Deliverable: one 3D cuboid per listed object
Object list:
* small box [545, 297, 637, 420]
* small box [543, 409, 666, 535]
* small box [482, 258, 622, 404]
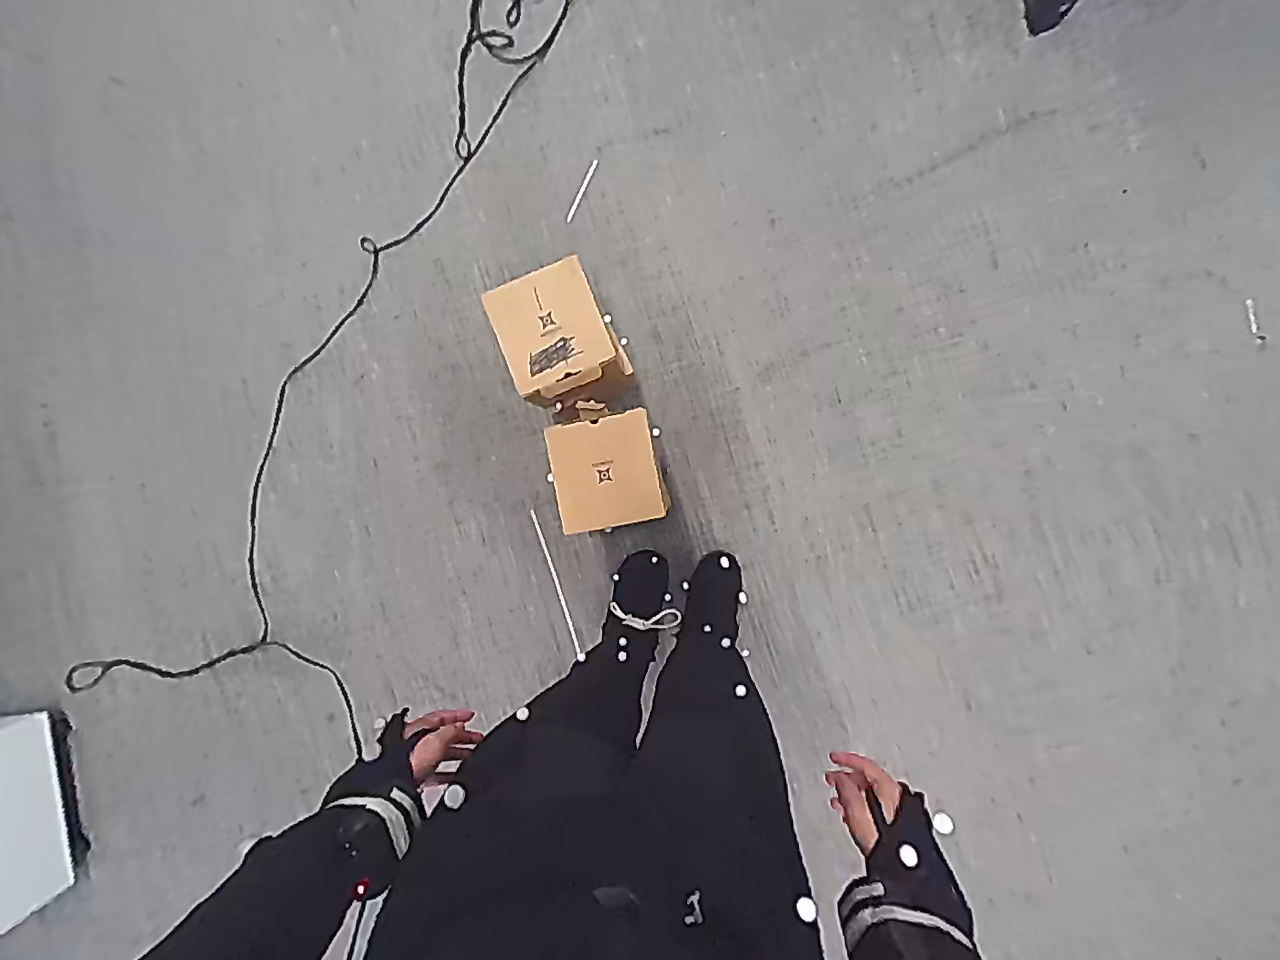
[{"bbox_3d":[-0.120,-0.233,1.083,0.179,0.176,0.168,-27,89,3],"label":"small box"},{"bbox_3d":[-0.051,-0.014,0.923,0.168,0.176,0.179,-11,90,4],"label":"small box"},{"bbox_3d":[-0.138,-0.238,0.918,0.168,0.176,0.179,-22,89,3],"label":"small box"}]
